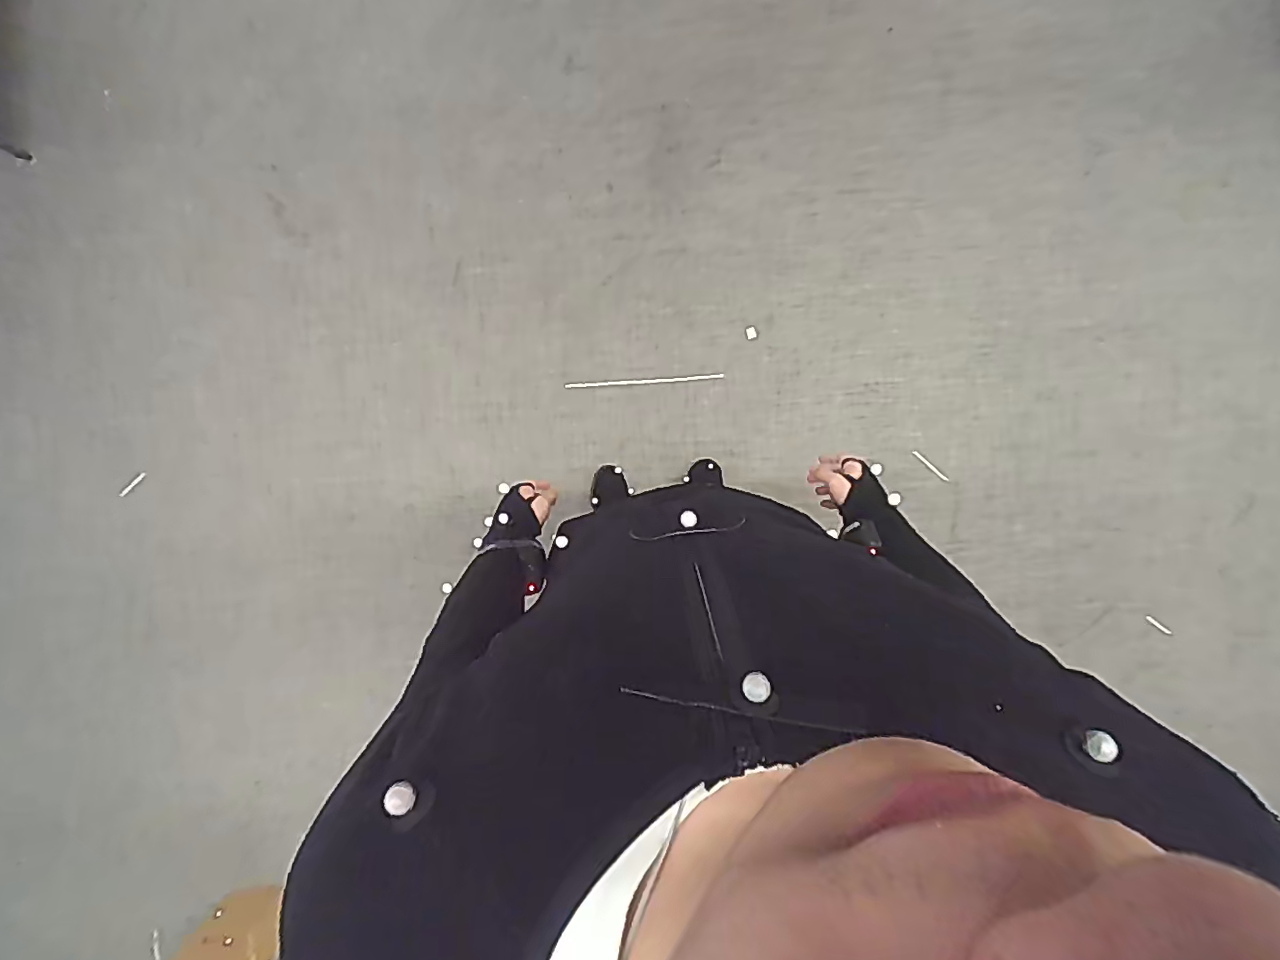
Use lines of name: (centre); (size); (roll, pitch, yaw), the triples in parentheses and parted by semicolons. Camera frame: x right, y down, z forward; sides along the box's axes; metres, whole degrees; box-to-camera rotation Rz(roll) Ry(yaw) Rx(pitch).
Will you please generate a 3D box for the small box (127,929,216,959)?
small box: (-1.224, 1.293, 1.380); (0.168, 0.176, 0.179); (1, 93, -1)
